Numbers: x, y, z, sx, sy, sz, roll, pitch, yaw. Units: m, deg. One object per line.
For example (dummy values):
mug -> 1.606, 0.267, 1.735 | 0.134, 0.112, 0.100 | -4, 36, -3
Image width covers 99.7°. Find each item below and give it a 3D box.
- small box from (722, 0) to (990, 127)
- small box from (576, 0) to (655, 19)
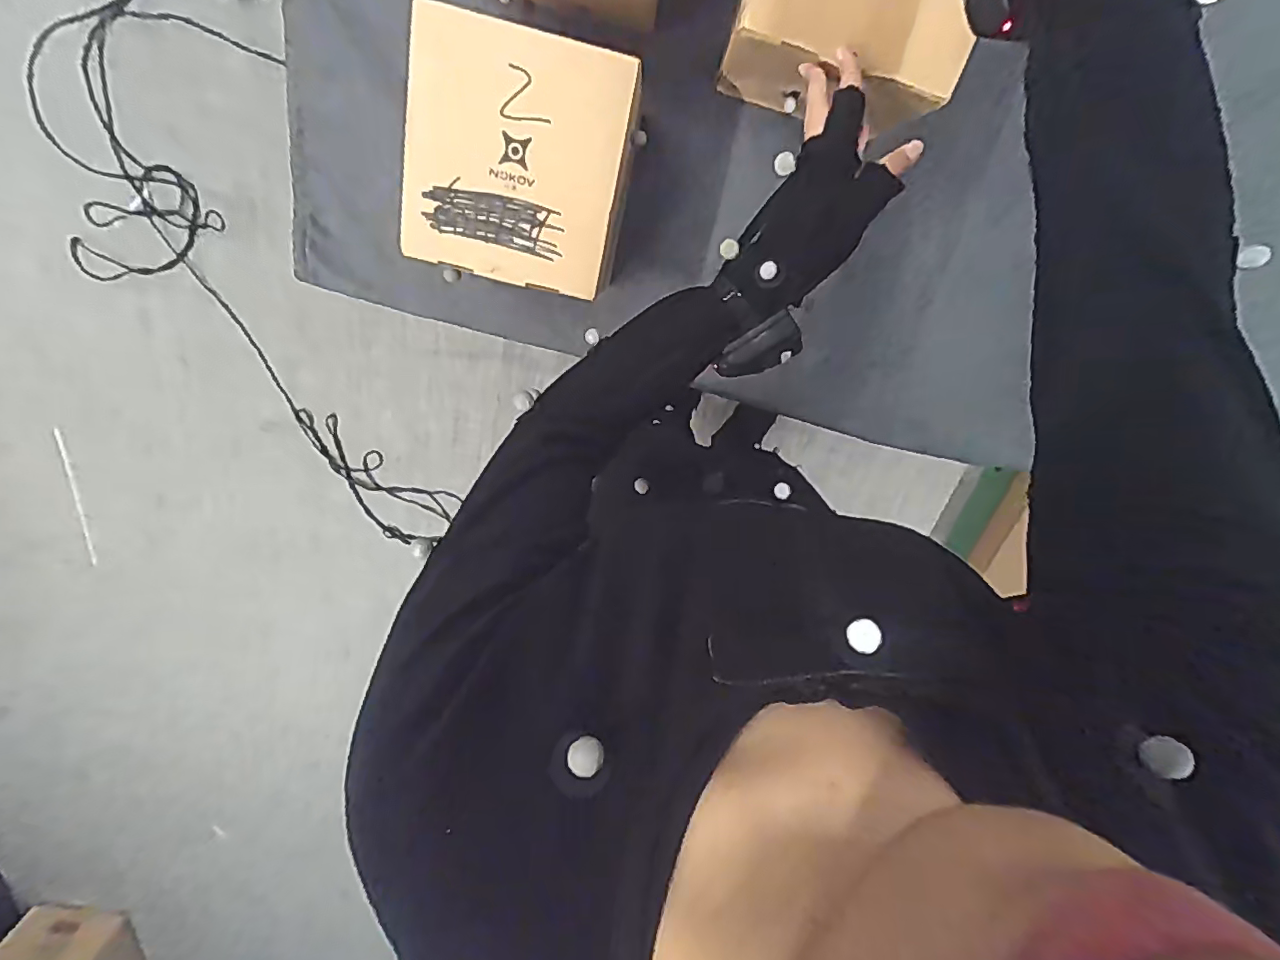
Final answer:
small box -> 0.173, -0.412, 0.430 | 0.168, 0.176, 0.179 | 14, 116, -6
small box -> -0.053, -0.486, 0.398 | 0.168, 0.176, 0.179 | 11, 115, -4
